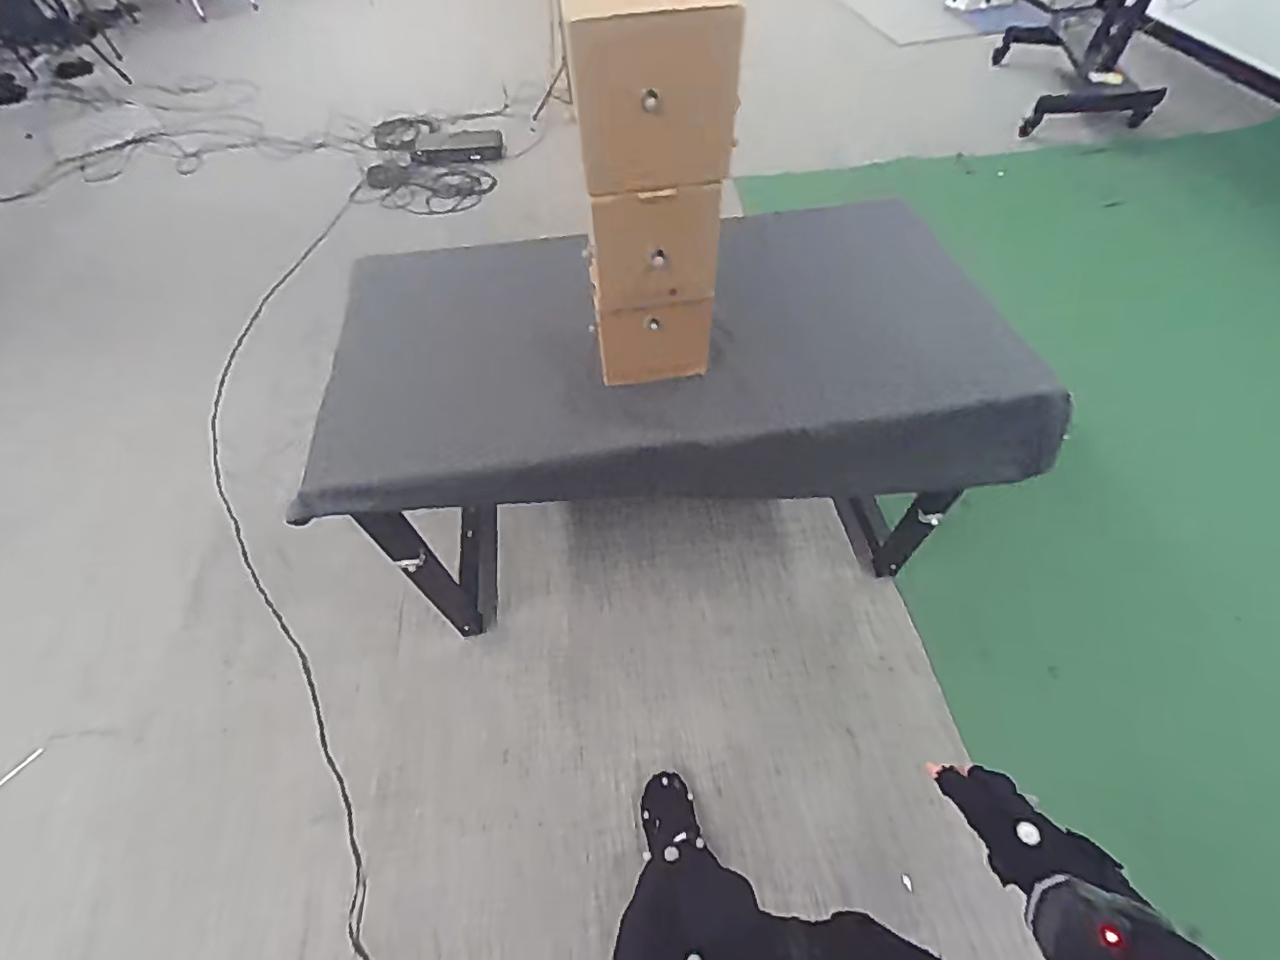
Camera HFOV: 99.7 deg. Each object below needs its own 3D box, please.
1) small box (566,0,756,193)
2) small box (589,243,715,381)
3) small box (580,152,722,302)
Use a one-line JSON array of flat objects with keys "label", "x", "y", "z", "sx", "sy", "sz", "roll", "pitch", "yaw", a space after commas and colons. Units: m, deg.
[{"label": "small box", "x": 0.013, "y": -0.456, "z": 0.617, "sx": 0.179, "sy": 0.176, "sz": 0.168, "roll": -9, "pitch": 56, "yaw": -5}, {"label": "small box", "x": 0.017, "y": -0.280, "z": 0.894, "sx": 0.179, "sy": 0.176, "sz": 0.168, "roll": -7, "pitch": 56, "yaw": -4}, {"label": "small box", "x": 0.013, "y": -0.367, "z": 0.755, "sx": 0.168, "sy": 0.176, "sz": 0.179, "roll": -8, "pitch": 57, "yaw": -3}]
